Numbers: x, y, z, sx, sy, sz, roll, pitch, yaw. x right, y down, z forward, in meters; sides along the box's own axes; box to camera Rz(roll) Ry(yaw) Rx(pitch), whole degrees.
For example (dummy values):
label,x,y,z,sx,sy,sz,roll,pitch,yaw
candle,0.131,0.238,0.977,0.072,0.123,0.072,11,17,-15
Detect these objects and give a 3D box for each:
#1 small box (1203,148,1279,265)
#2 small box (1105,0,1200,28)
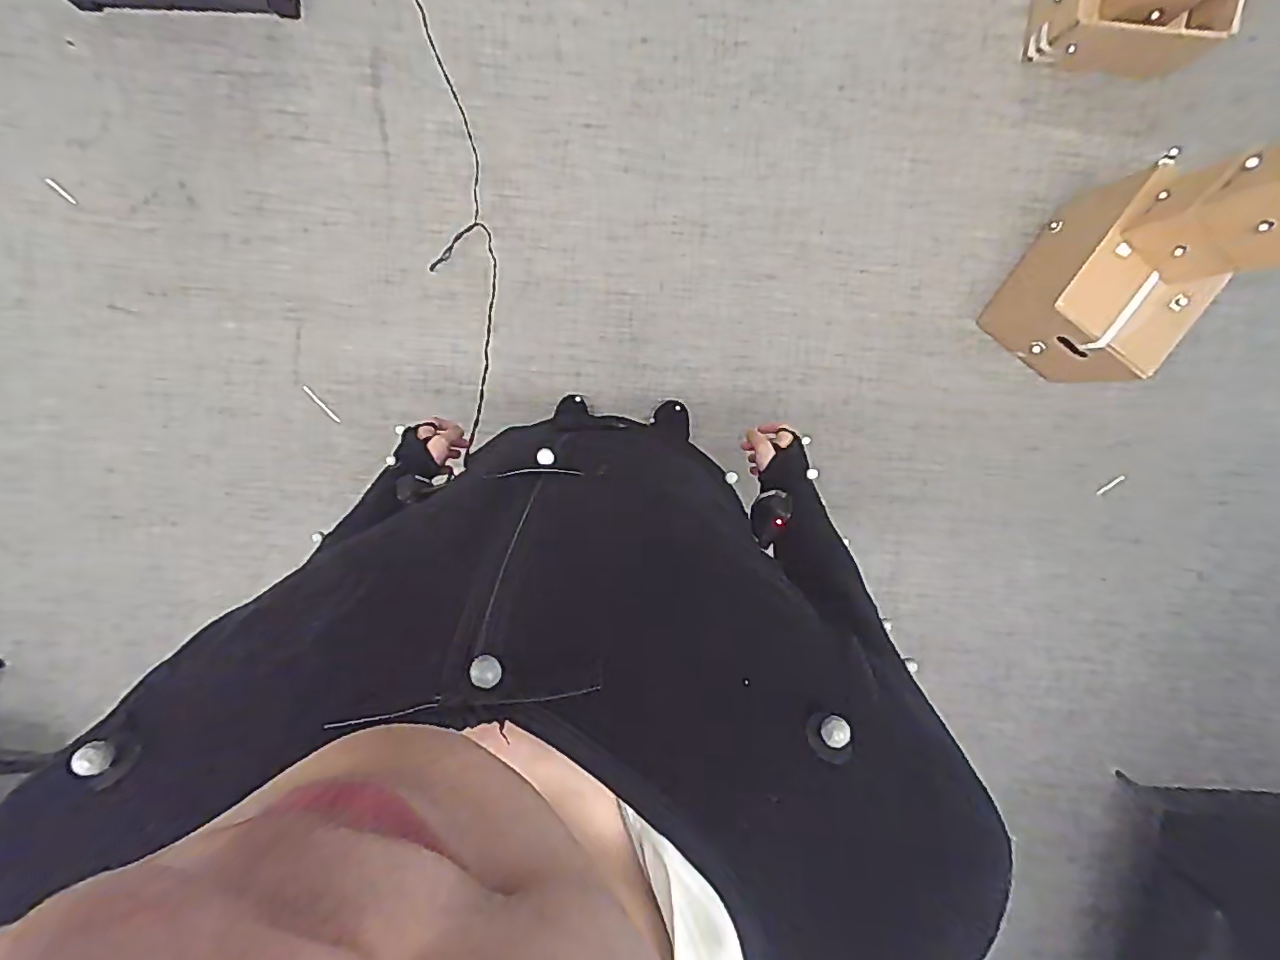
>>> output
label,x,y,z,sx,sy,sz,roll,pitch,yaw
small box,1.237,-0.525,1.002,0.179,0.176,0.168,45,96,-5
small box,1.291,-1.249,1.320,0.168,0.176,0.179,0,98,0
